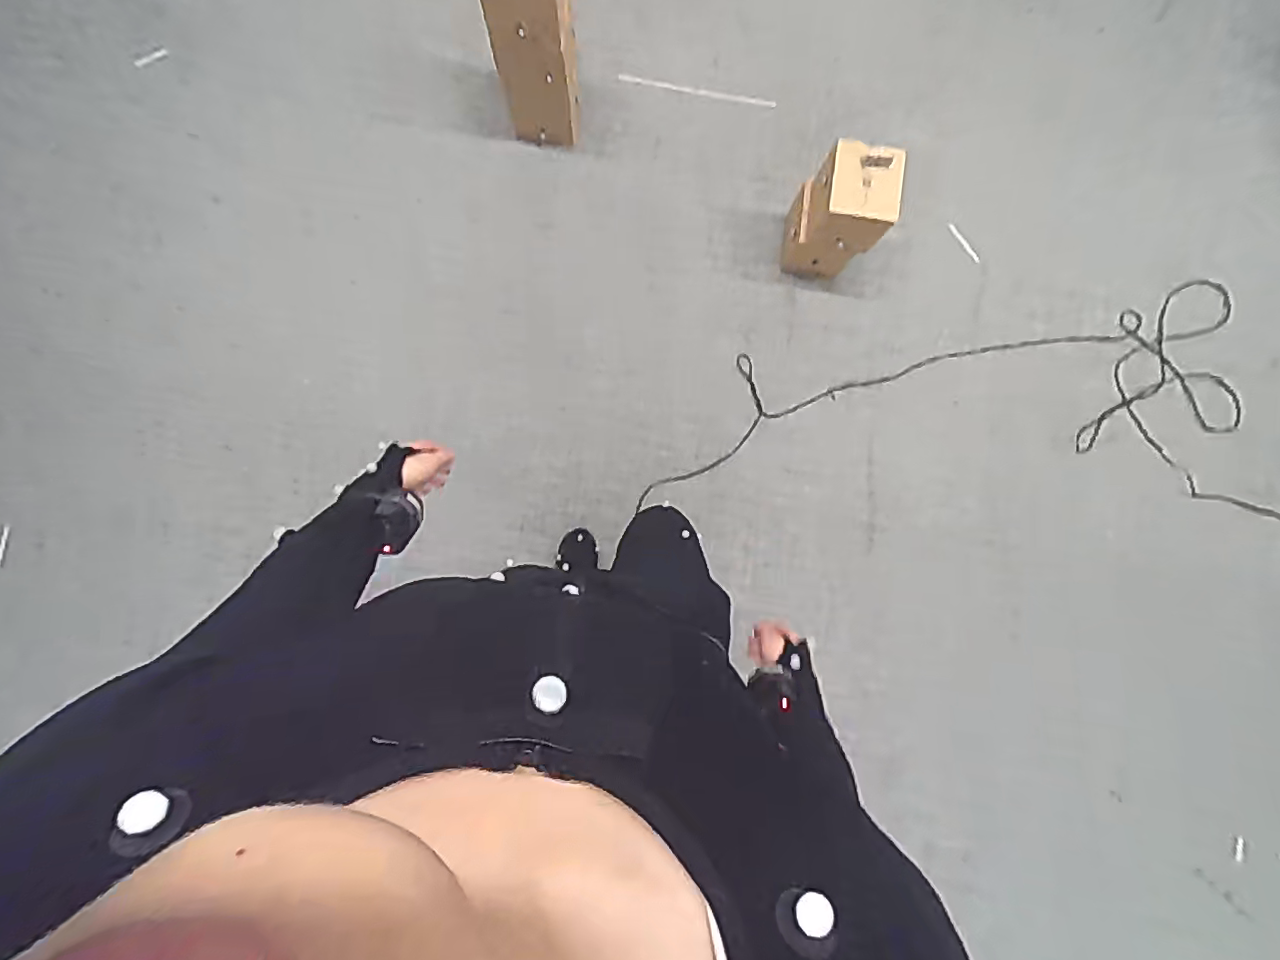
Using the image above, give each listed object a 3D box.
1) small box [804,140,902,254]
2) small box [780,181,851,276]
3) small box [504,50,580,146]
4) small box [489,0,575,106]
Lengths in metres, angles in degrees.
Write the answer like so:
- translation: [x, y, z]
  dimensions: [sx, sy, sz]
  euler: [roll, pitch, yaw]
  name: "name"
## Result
- translation: [0.519, -0.692, 1.337]
  dimensions: [0.168, 0.176, 0.179]
  euler: [8, 87, -1]
  name: "small box"
- translation: [0.497, -0.690, 1.500]
  dimensions: [0.168, 0.176, 0.179]
  euler: [7, 86, -2]
  name: "small box"
- translation: [-0.266, -1.069, 1.504]
  dimensions: [0.179, 0.176, 0.168]
  euler: [8, 85, -2]
  name: "small box"
- translation: [-0.260, -1.071, 1.341]
  dimensions: [0.179, 0.176, 0.168]
  euler: [5, 84, 0]
  name: "small box"
